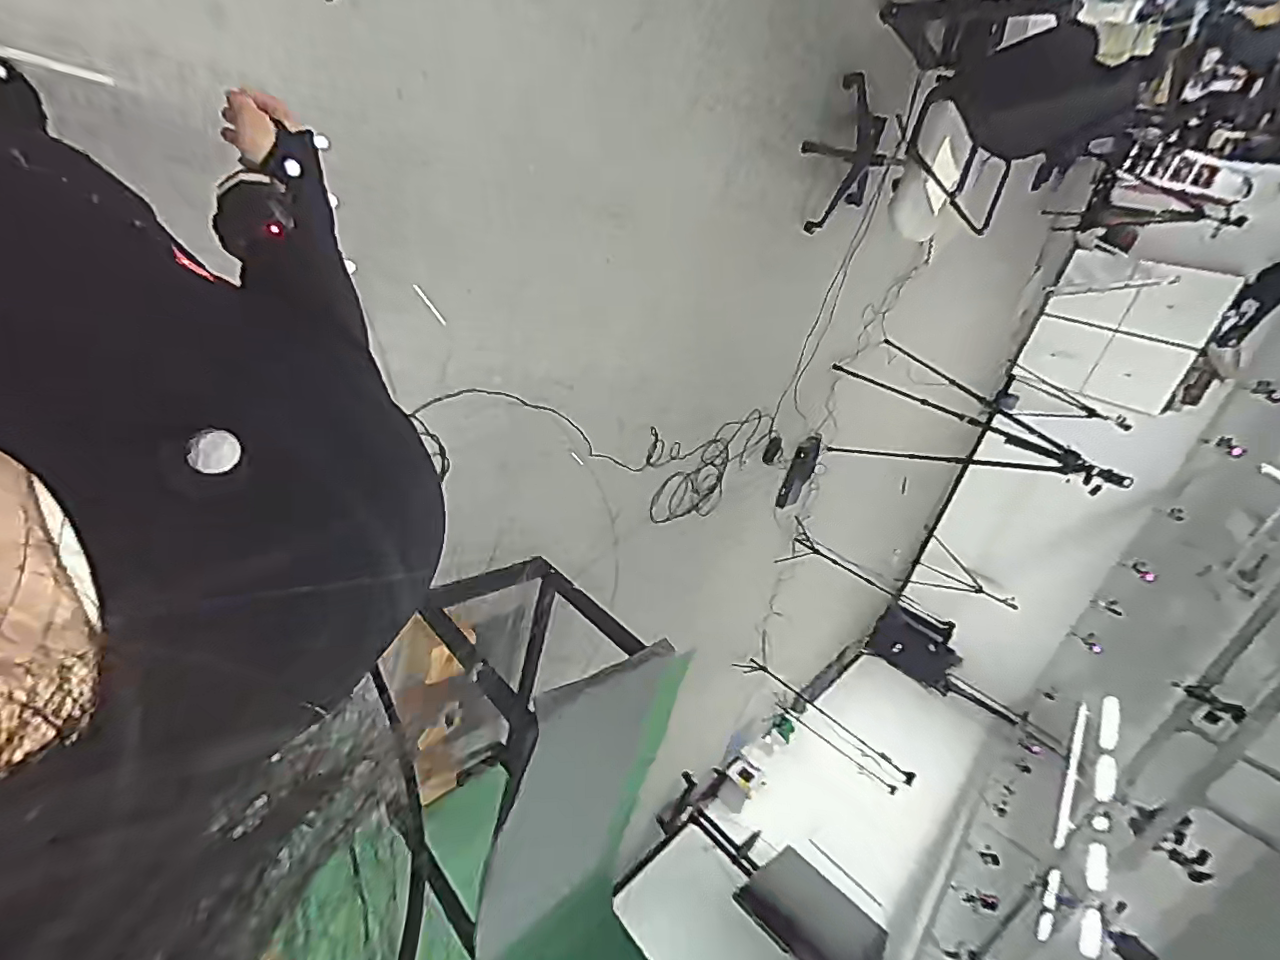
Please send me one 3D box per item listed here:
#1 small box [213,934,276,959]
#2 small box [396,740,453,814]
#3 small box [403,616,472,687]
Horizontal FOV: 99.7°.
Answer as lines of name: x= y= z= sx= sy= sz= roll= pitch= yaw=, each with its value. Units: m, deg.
small box: x=-1.487 y=1.846 z=2.017 sx=0.168 sy=0.176 sz=0.179 roll=-40 pitch=142 yaw=-26
small box: x=-0.911 y=1.244 z=2.278 sx=0.179 sy=0.176 sz=0.168 roll=-16 pitch=127 yaw=-45
small box: x=-0.760 y=0.634 z=2.019 sx=0.179 sy=0.176 sz=0.168 roll=-5 pitch=118 yaw=-50
